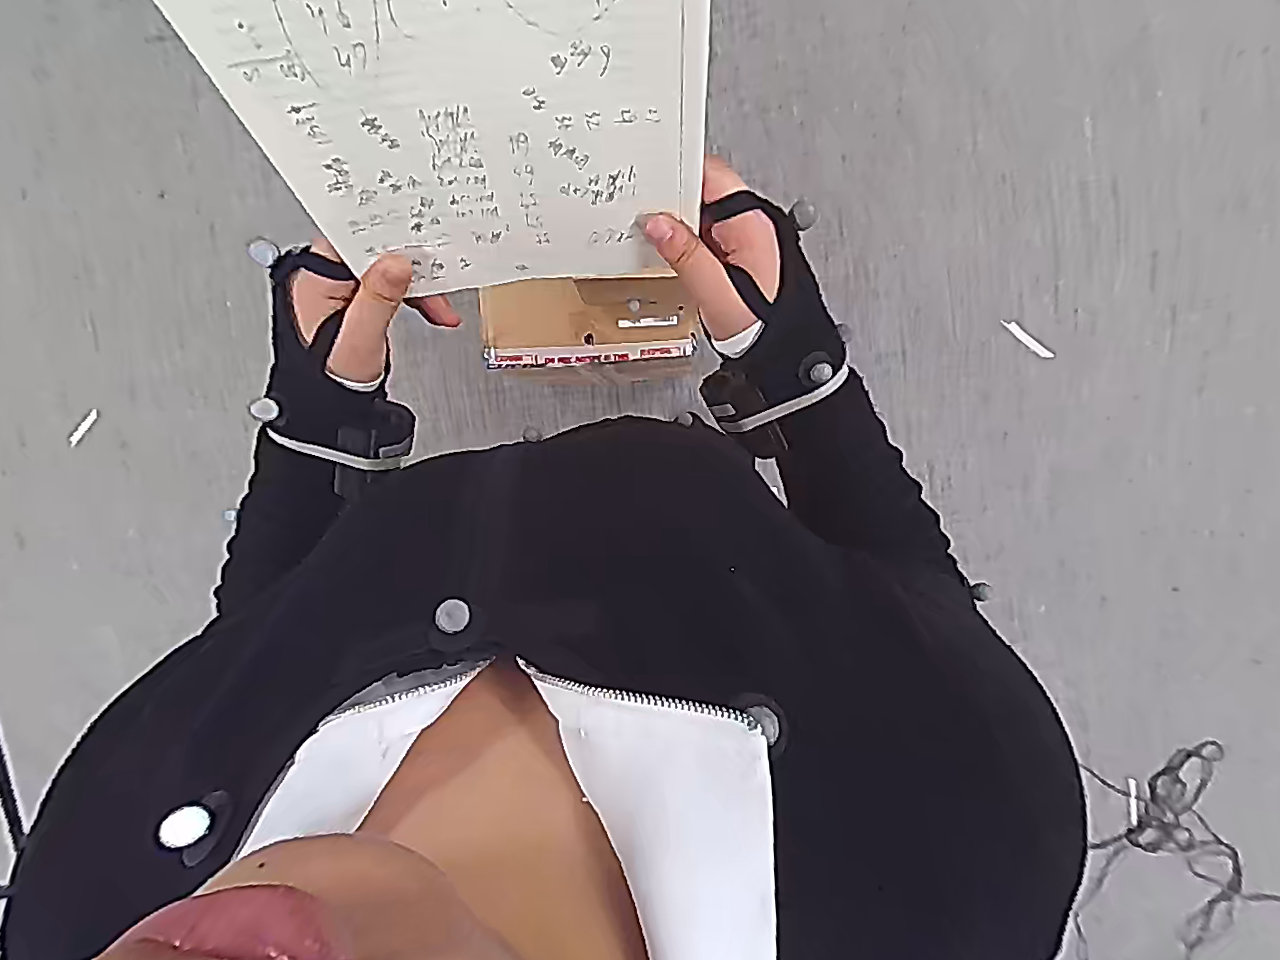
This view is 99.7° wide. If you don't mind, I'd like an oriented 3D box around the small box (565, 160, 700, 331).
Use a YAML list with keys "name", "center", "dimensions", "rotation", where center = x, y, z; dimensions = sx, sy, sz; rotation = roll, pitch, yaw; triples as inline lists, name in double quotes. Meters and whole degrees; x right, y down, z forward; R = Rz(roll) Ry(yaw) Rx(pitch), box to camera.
- name: "small box"
  center: [-0.011, -0.306, 0.737]
  dimensions: [0.168, 0.176, 0.179]
  rotation: [-1, 98, 0]

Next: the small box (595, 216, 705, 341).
- name: "small box"
  center: [0.008, -0.329, 0.900]
  dimensions: [0.179, 0.176, 0.168]
  rotation: [-5, 97, 1]
